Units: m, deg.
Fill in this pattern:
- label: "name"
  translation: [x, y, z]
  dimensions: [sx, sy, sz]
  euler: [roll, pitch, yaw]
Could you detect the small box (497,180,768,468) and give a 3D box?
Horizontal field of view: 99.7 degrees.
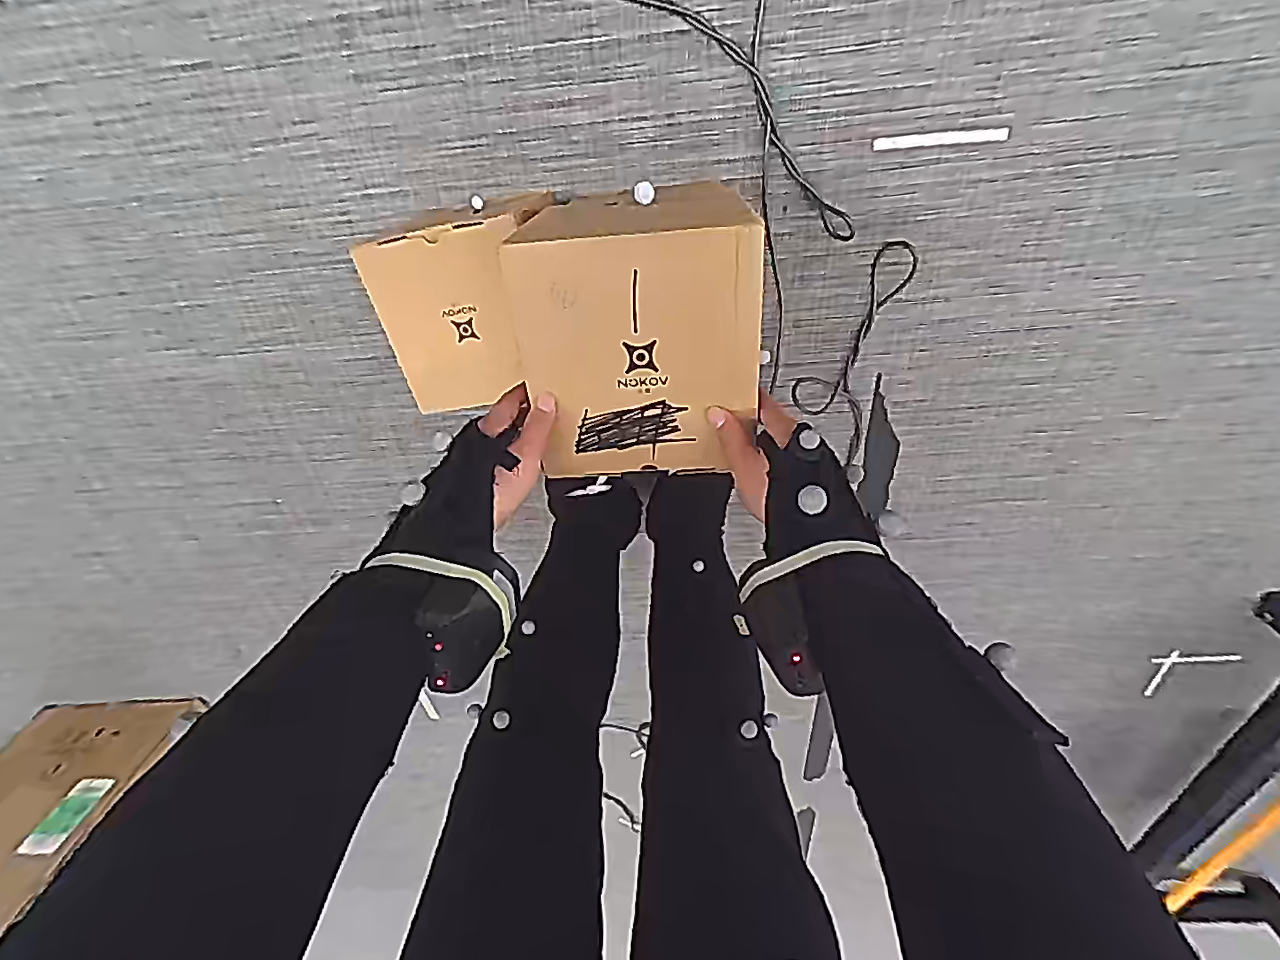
- label: "small box"
  translation: [0.003, -0.128, 0.433]
  dimensions: [0.168, 0.176, 0.179]
  euler: [-3, 123, 4]
